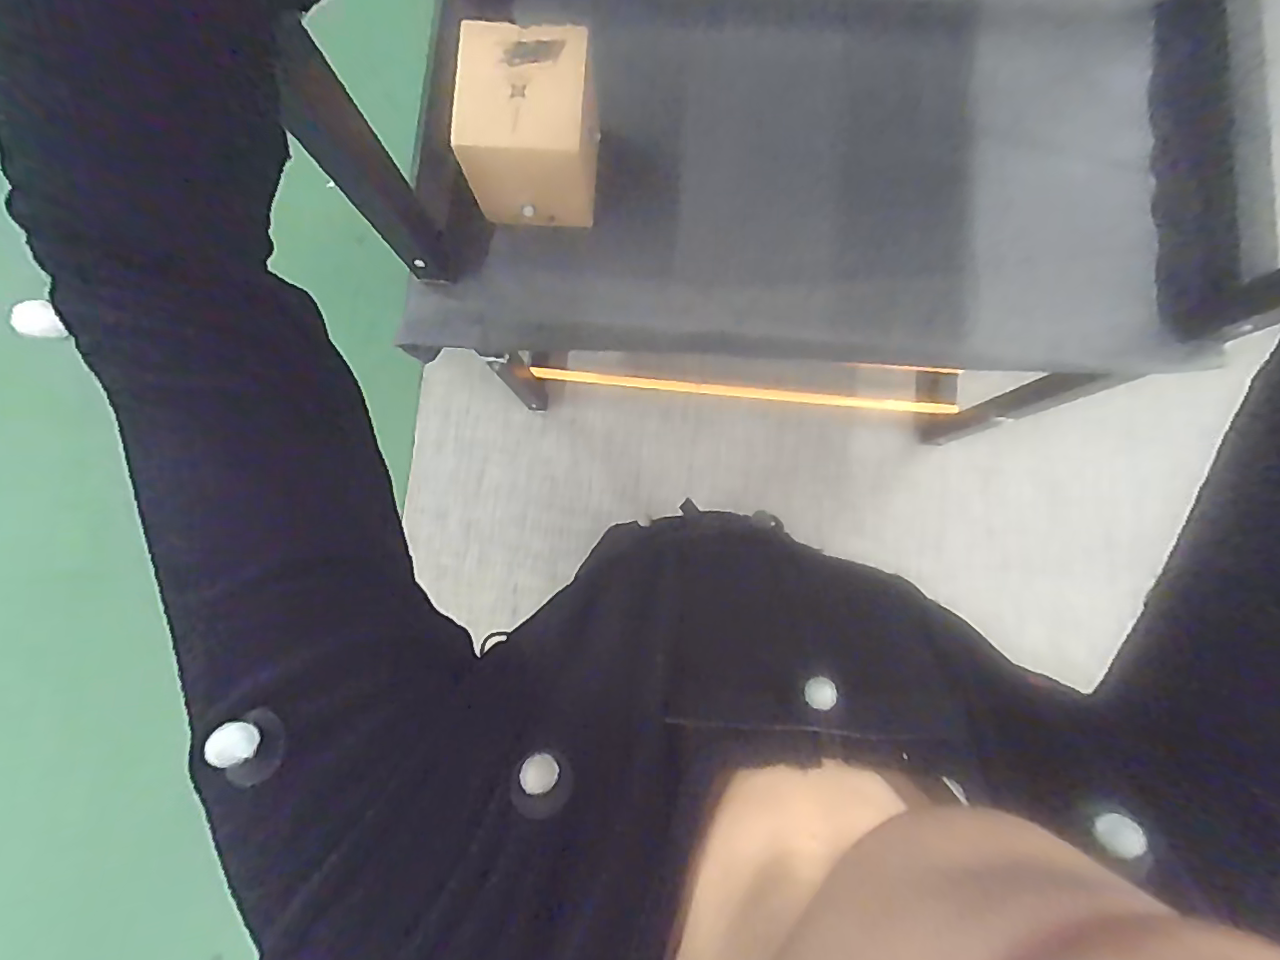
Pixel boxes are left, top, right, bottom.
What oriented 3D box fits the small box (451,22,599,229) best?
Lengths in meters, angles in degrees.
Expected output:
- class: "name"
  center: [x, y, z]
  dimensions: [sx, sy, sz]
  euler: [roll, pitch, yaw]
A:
- class: "small box"
  center: [-0.149, -0.486, 0.760]
  dimensions: [0.168, 0.176, 0.179]
  euler: [3, 83, 1]
